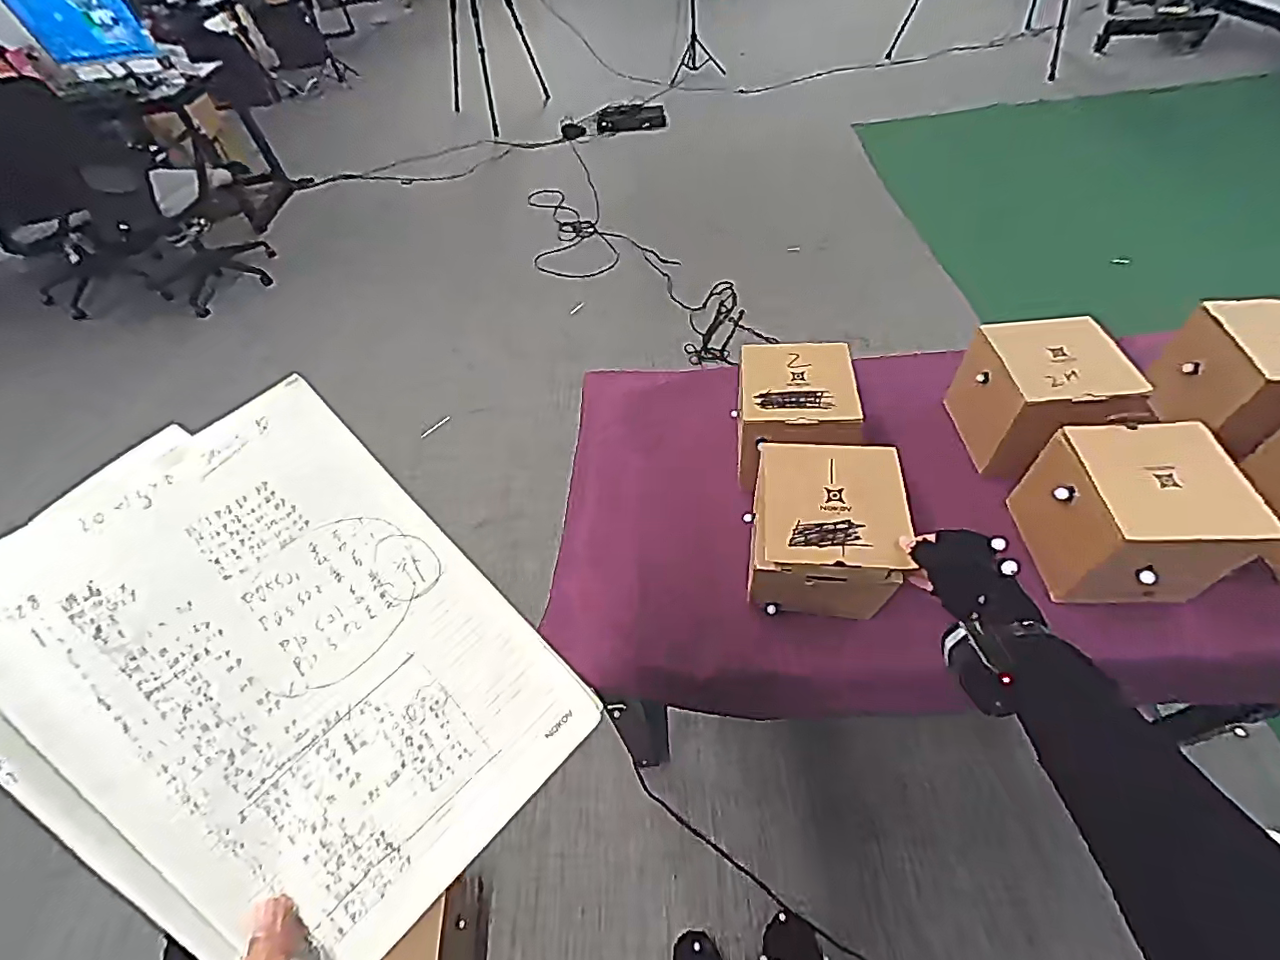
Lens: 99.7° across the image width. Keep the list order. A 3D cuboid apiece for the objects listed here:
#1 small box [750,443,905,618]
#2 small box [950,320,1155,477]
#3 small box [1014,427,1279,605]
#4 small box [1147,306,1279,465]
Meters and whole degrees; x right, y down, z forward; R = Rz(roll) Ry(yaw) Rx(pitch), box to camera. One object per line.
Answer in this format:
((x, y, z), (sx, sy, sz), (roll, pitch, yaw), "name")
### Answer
((0.237, 0.072, 0.717), (0.168, 0.176, 0.179), (5, 62, 10), "small box")
((0.617, -0.124, 0.841), (0.168, 0.176, 0.179), (-3, 52, 5), "small box")
((0.634, 0.052, 0.705), (0.168, 0.176, 0.179), (-1, 53, 7), "small box")
((0.929, -0.142, 0.816), (0.168, 0.176, 0.179), (0, 52, 8), "small box")
